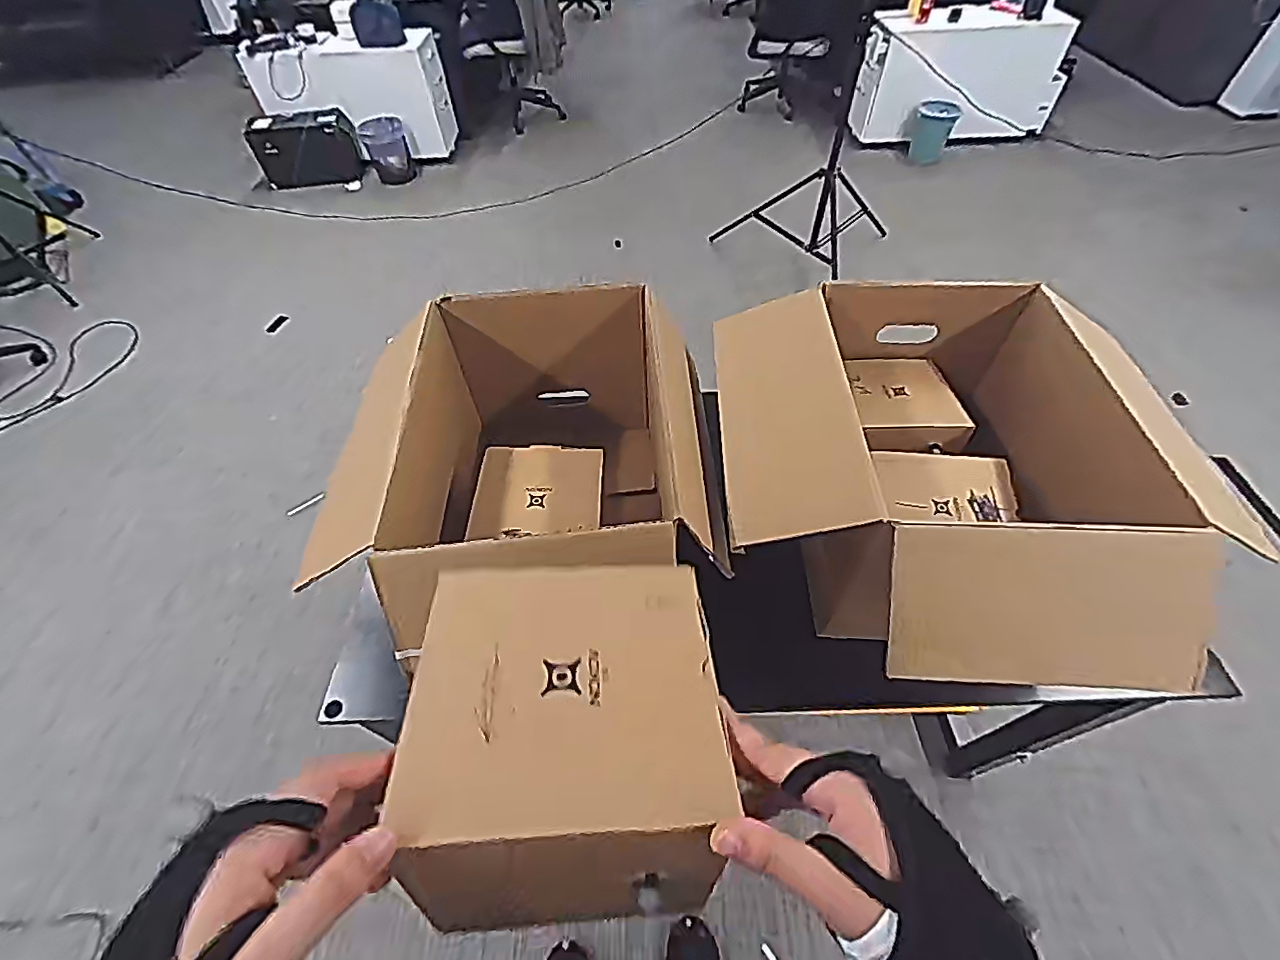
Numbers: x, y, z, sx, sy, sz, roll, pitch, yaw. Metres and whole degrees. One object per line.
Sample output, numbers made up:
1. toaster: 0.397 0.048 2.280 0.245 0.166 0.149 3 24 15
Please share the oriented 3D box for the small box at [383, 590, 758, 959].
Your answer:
1. small box: -0.040 0.193 0.360 0.179 0.176 0.168 -2 40 -6
